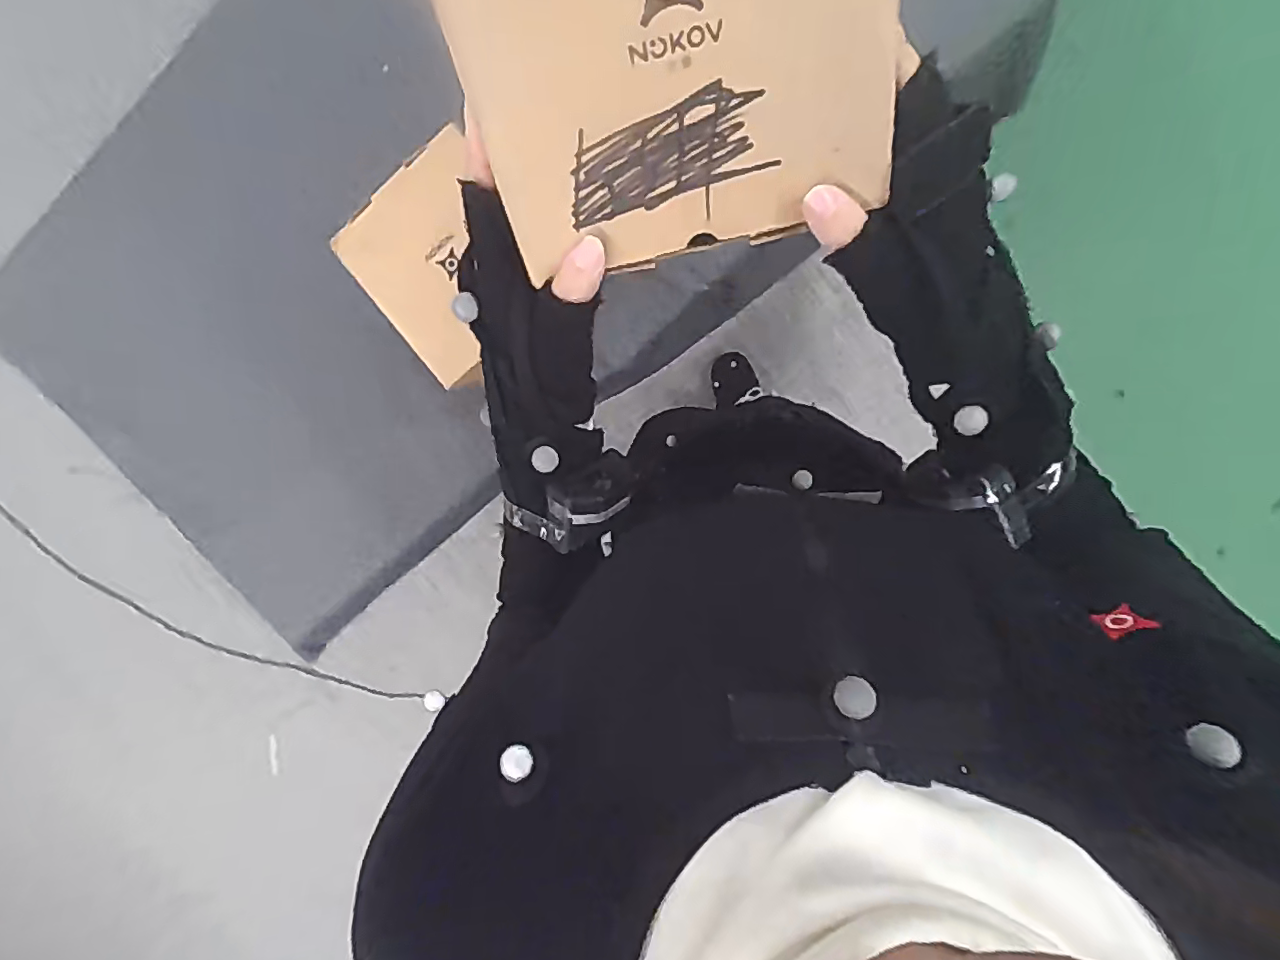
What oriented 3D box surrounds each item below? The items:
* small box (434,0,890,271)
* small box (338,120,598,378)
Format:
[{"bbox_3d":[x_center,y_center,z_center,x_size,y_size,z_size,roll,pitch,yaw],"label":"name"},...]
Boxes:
[{"bbox_3d":[0.009,-0.227,0.257,0.168,0.176,0.179,-9,128,8],"label":"small box"},{"bbox_3d":[-0.168,-0.227,0.587,0.168,0.176,0.179,-38,97,12],"label":"small box"}]
